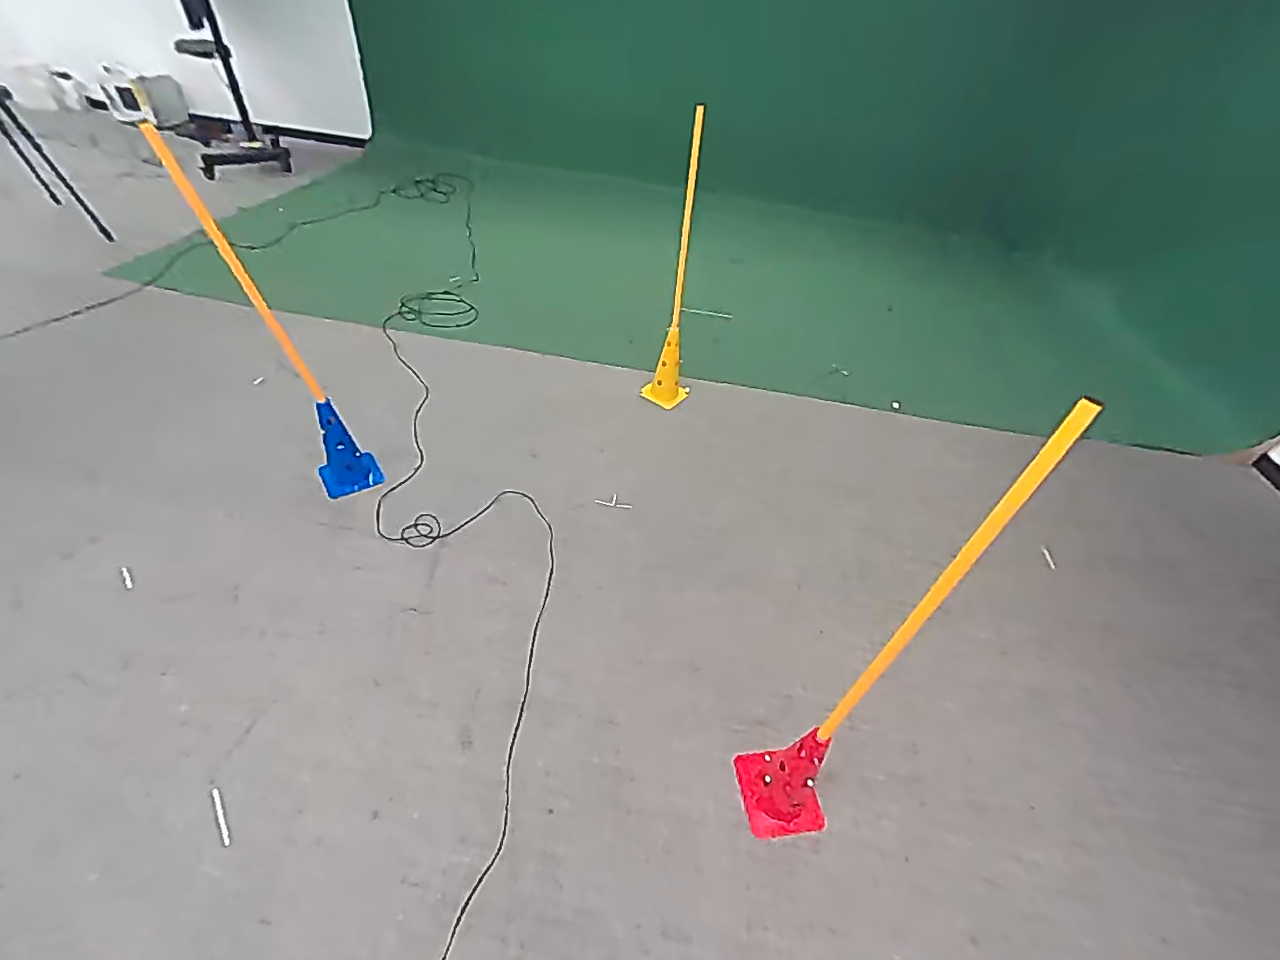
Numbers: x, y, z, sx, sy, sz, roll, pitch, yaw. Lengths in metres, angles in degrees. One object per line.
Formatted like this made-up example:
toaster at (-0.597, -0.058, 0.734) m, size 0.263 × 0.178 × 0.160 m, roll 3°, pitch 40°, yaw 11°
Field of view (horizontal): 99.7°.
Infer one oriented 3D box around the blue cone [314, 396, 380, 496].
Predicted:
blue cone at (-1.096, -0.137, 1.954) m, size 0.193 × 0.380 × 0.192 m, roll -25°, pitch 53°, yaw -28°
